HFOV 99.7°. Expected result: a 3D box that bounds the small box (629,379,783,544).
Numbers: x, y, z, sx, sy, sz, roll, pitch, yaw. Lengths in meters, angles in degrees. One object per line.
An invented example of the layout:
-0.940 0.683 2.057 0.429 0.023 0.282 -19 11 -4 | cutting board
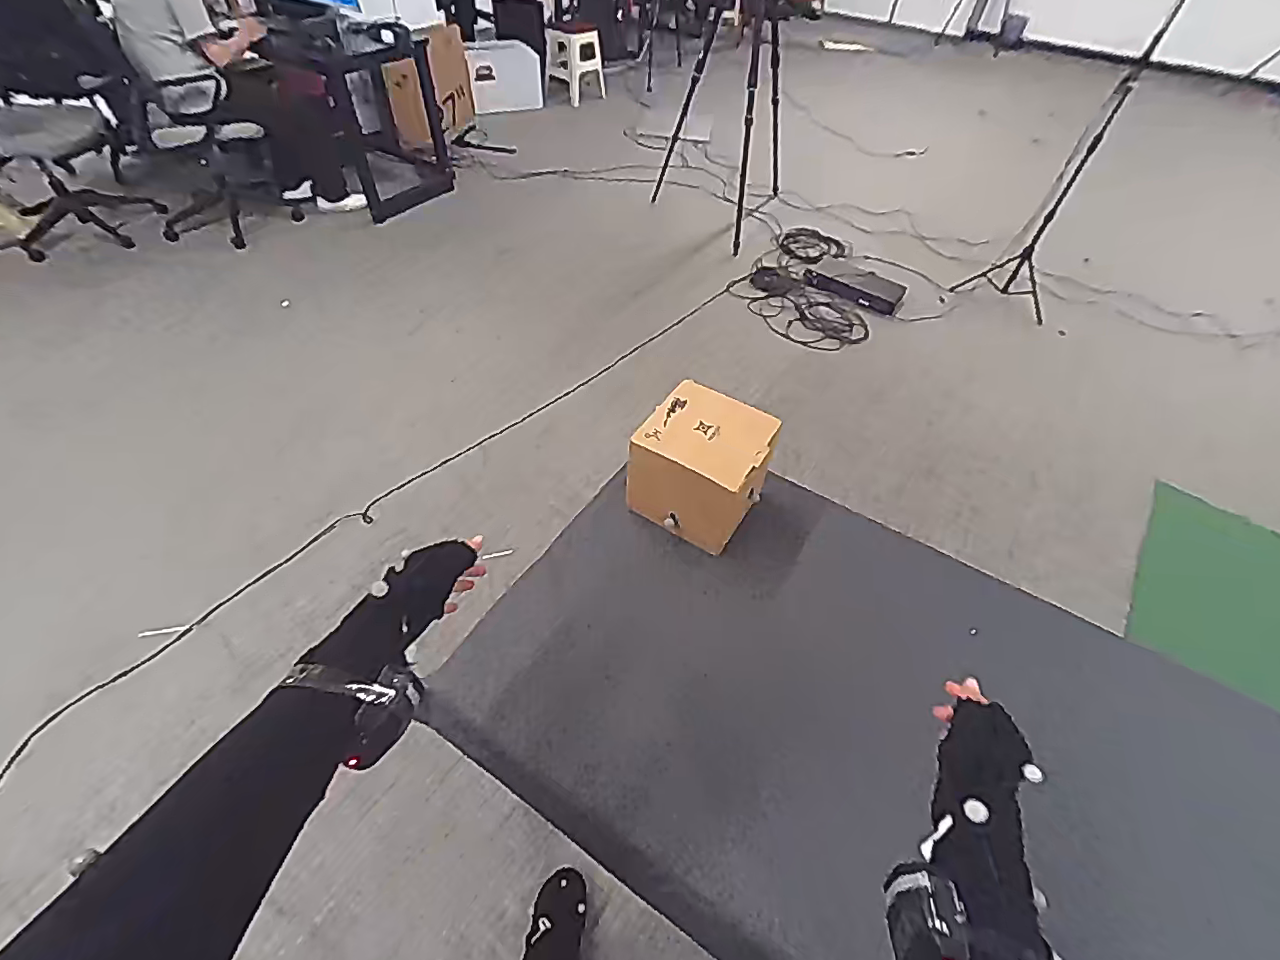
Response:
0.098 -0.023 0.862 0.179 0.176 0.168 29 55 18 | small box
